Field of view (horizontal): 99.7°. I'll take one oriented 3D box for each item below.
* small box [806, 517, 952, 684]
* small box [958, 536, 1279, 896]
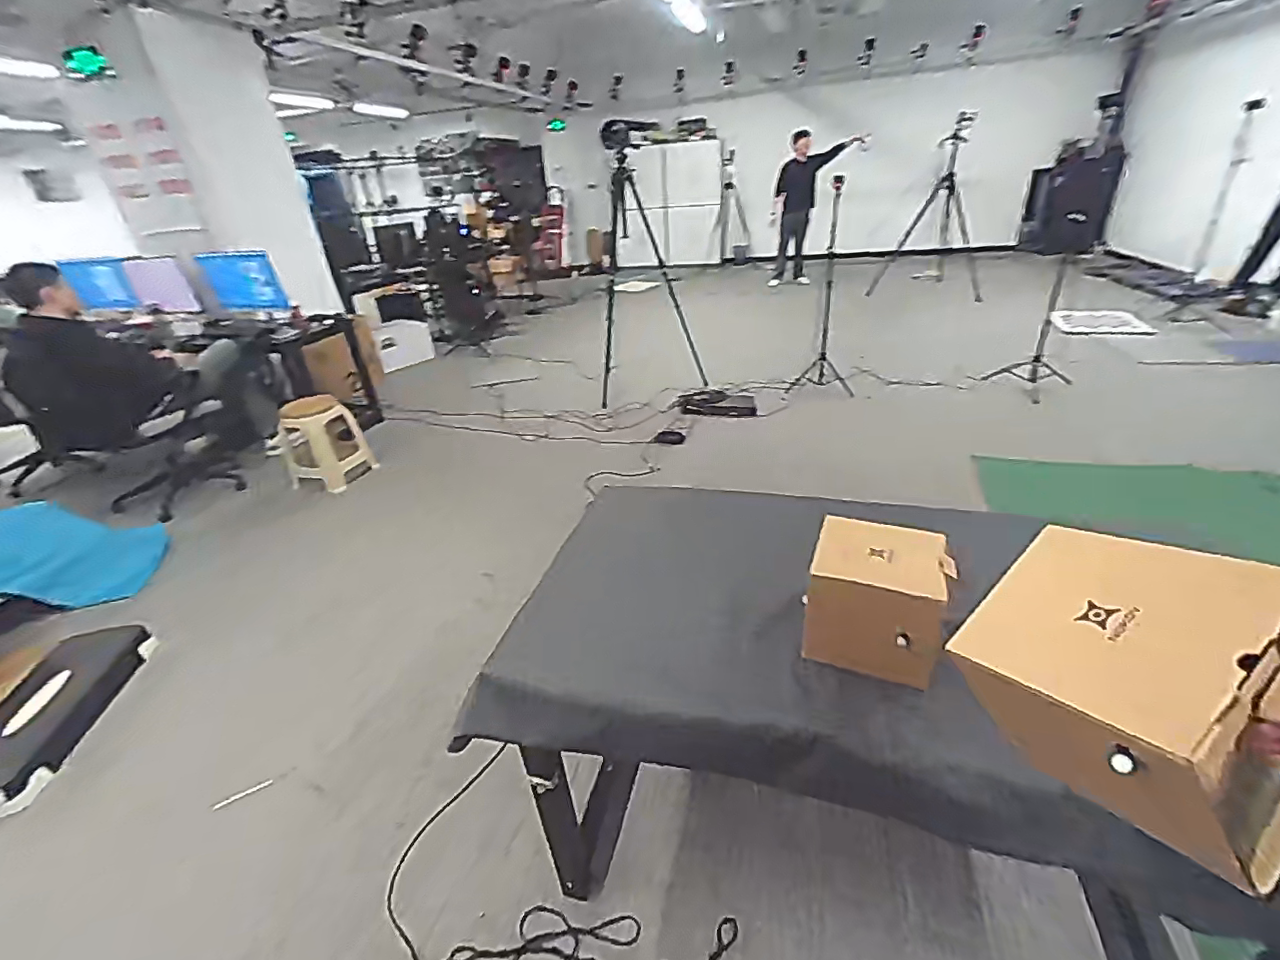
[{"bbox_3d":[0.361,0.181,0.826,0.179,0.176,0.168,8,30,24],"label":"small box"},{"bbox_3d":[0.414,0.175,0.438,0.168,0.176,0.179,-42,19,-11],"label":"small box"}]
